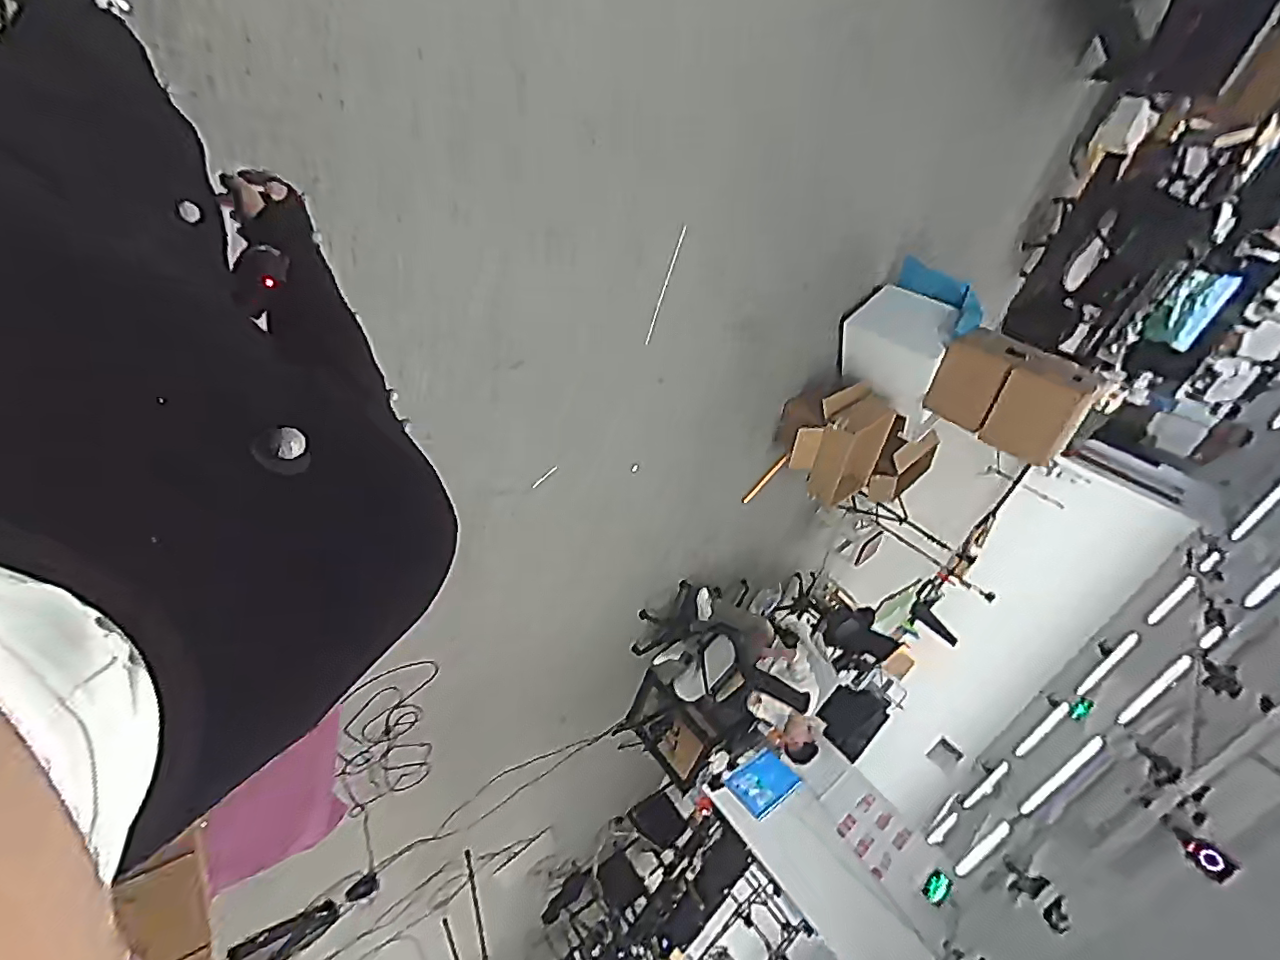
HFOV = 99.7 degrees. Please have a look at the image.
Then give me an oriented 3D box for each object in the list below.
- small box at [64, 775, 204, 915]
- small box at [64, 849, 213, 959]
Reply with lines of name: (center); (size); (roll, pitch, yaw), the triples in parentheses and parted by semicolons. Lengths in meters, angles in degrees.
small box: (-0.945, 0.708, 1.021); (0.179, 0.176, 0.168); (-9, 128, -42)
small box: (-0.842, 0.784, 0.915); (0.179, 0.176, 0.168); (-7, 128, -43)
